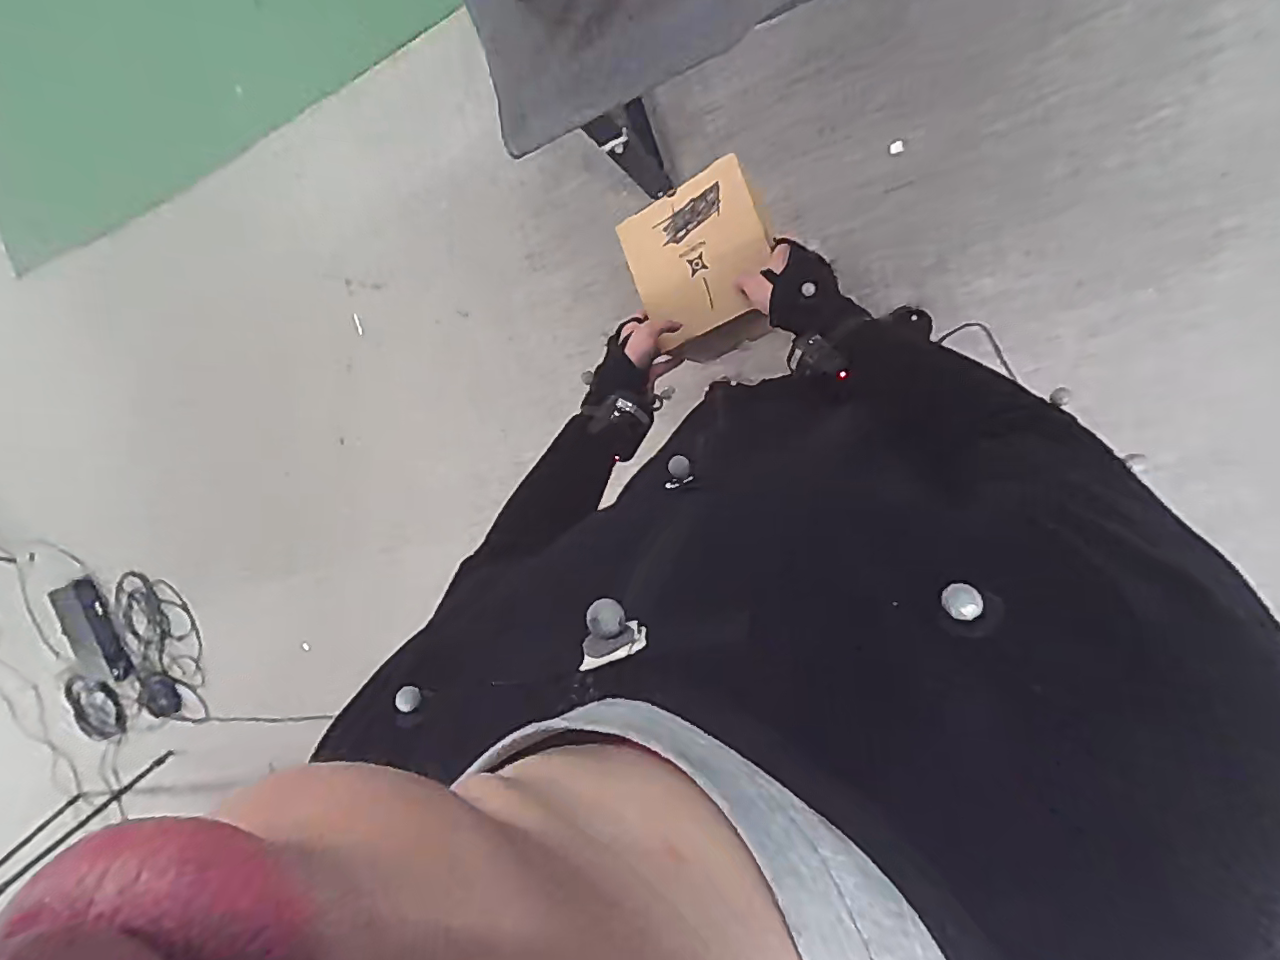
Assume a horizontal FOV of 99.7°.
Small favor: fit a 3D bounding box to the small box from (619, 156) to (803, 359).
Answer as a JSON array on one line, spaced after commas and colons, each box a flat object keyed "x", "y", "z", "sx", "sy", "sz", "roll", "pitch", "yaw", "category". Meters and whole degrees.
[{"x": 0.101, "y": -0.276, "z": 0.720, "sx": 0.168, "sy": 0.176, "sz": 0.179, "roll": -20, "pitch": 88, "yaw": 27, "category": "small box"}]
